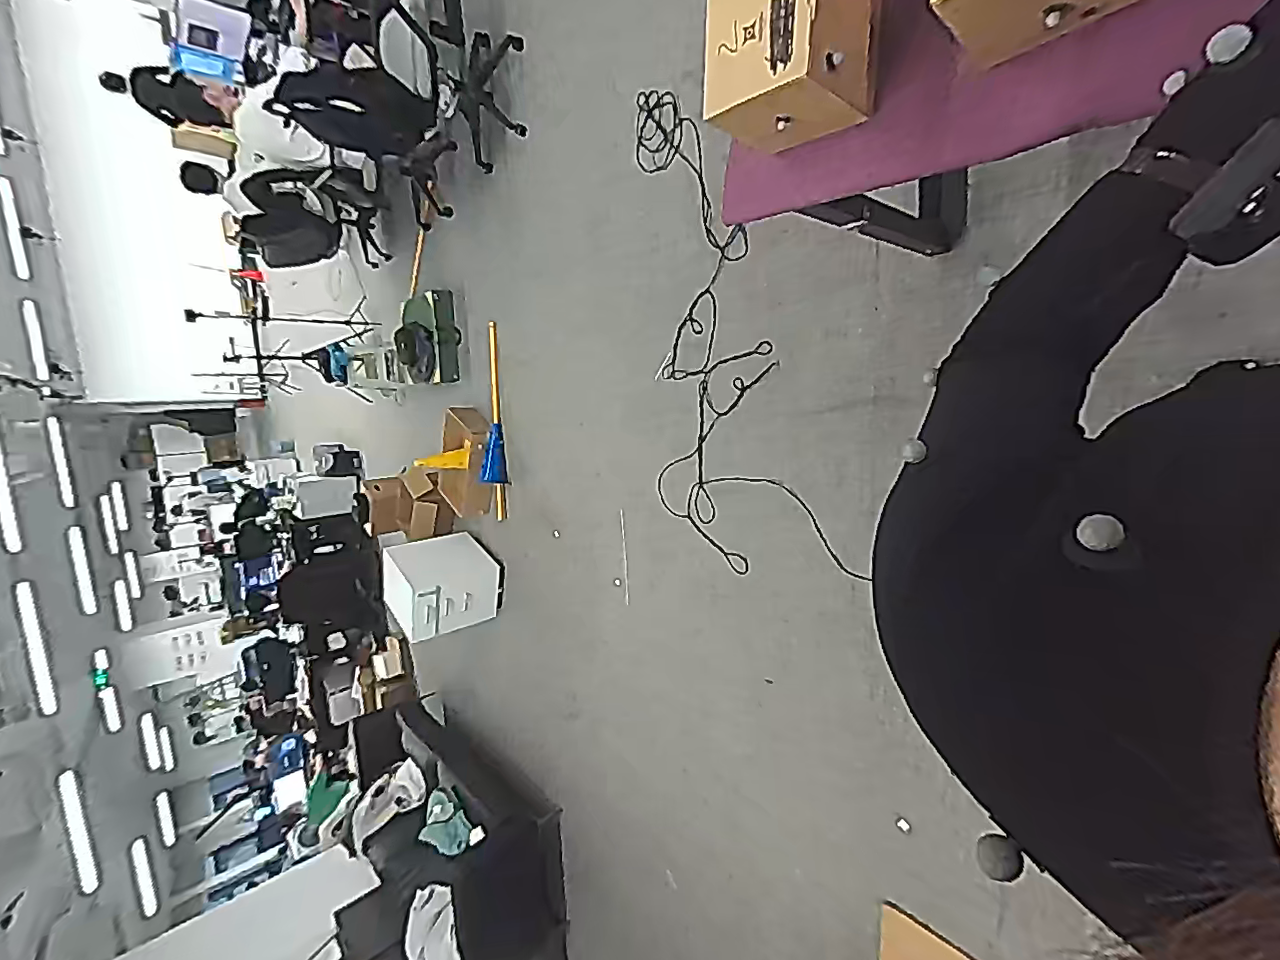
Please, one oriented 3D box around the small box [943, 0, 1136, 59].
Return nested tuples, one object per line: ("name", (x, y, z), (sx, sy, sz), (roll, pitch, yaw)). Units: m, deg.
("small box", (0.411, -0.577, 0.535), (0.168, 0.176, 0.179), (5, 100, 49))
